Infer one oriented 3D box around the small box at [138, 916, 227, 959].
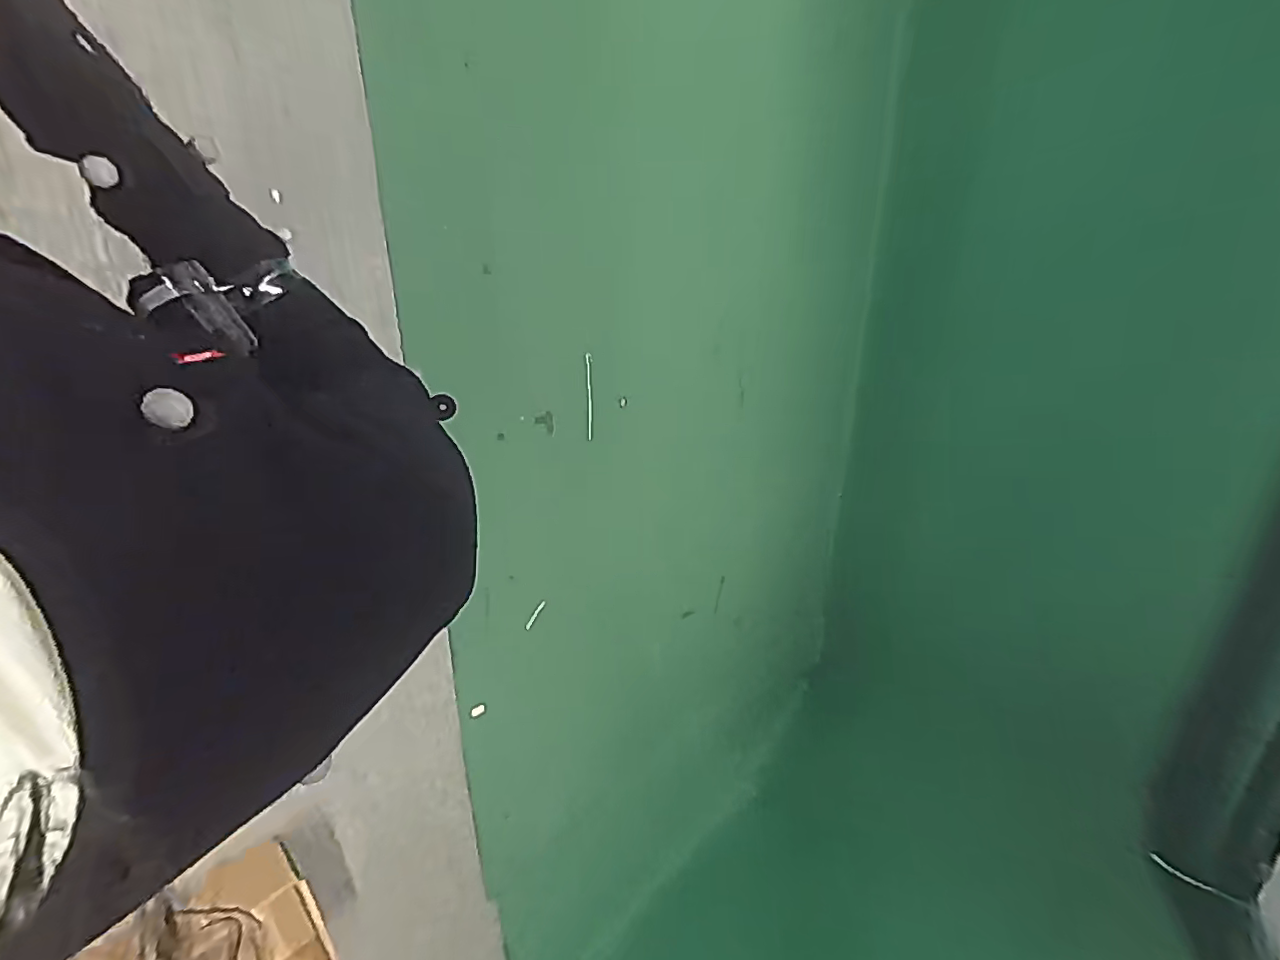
[{"bbox_3d":[-1.079,1.195,1.265,0.179,0.176,0.168,-24,121,-44],"label":"small box"}]
